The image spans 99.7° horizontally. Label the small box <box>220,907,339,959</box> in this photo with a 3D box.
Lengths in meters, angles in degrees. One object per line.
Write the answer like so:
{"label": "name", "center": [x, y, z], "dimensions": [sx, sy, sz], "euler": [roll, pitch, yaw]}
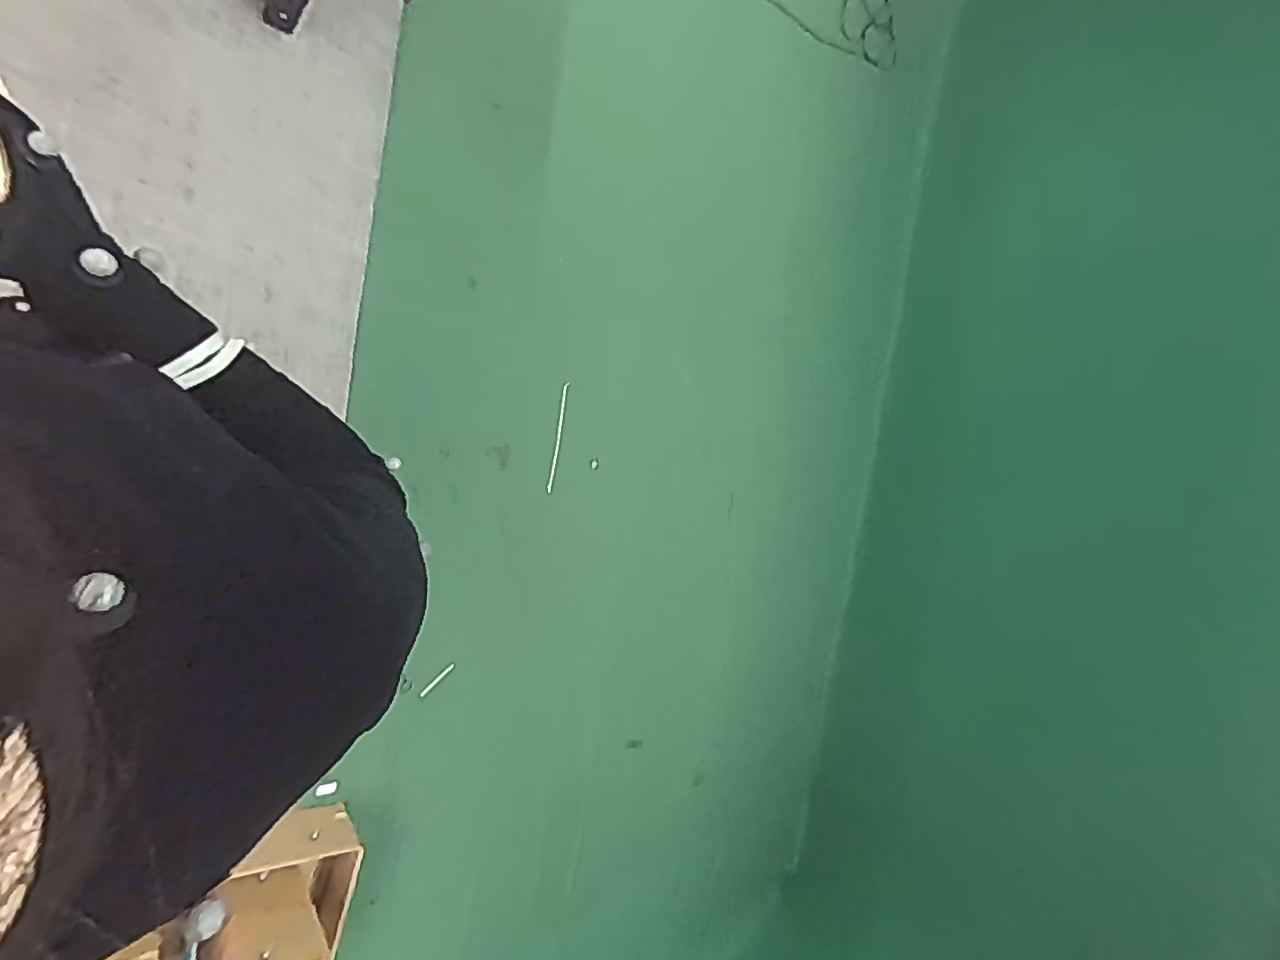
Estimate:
{"label": "small box", "center": [-0.791, 1.064, 1.165], "dimensions": [0.179, 0.176, 0.168], "euler": [30, 77, -39]}
